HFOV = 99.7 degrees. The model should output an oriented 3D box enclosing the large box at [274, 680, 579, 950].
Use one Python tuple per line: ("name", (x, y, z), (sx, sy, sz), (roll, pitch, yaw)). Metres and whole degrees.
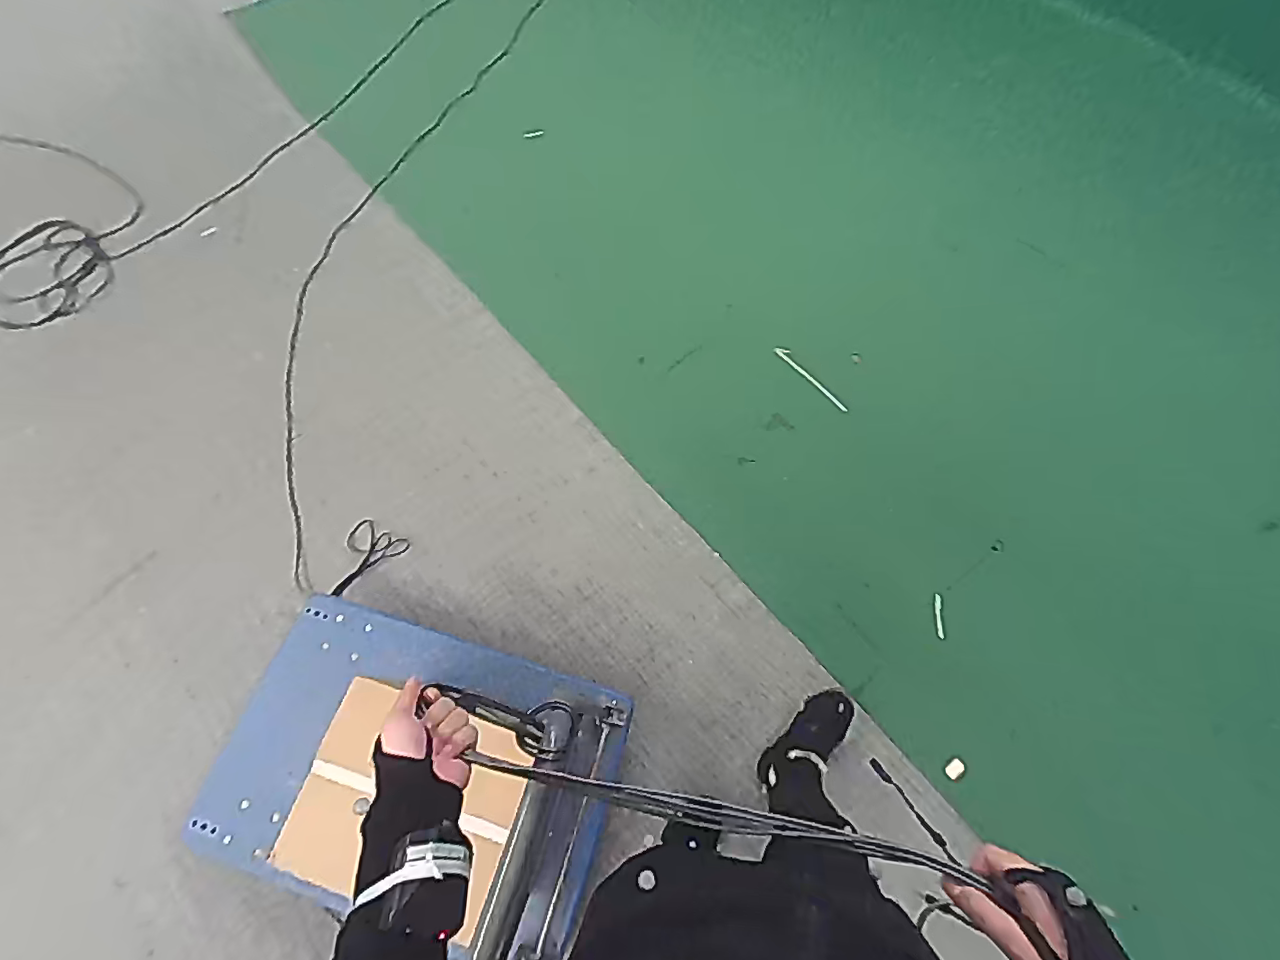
("large box", (-0.371, 0.611, 1.059), (0.408, 0.320, 0.320), (15, 67, 9))
